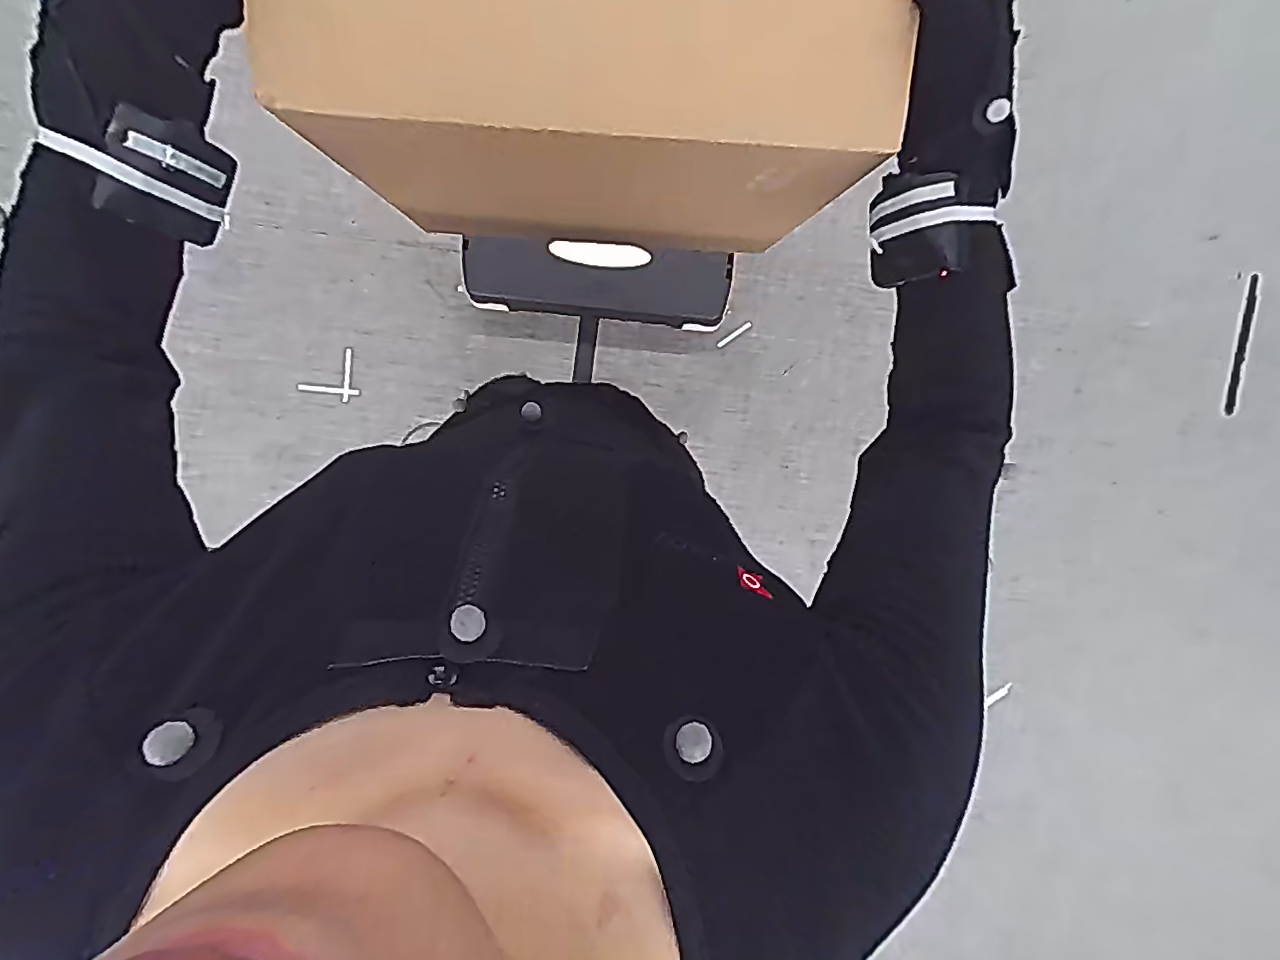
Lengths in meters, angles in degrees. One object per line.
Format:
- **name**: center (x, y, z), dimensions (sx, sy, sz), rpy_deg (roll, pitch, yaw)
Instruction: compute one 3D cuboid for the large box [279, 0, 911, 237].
- **large box**: center (-0.031, -0.413, 0.468), dimensions (0.408, 0.320, 0.320), rpy_deg (1, 102, -5)
